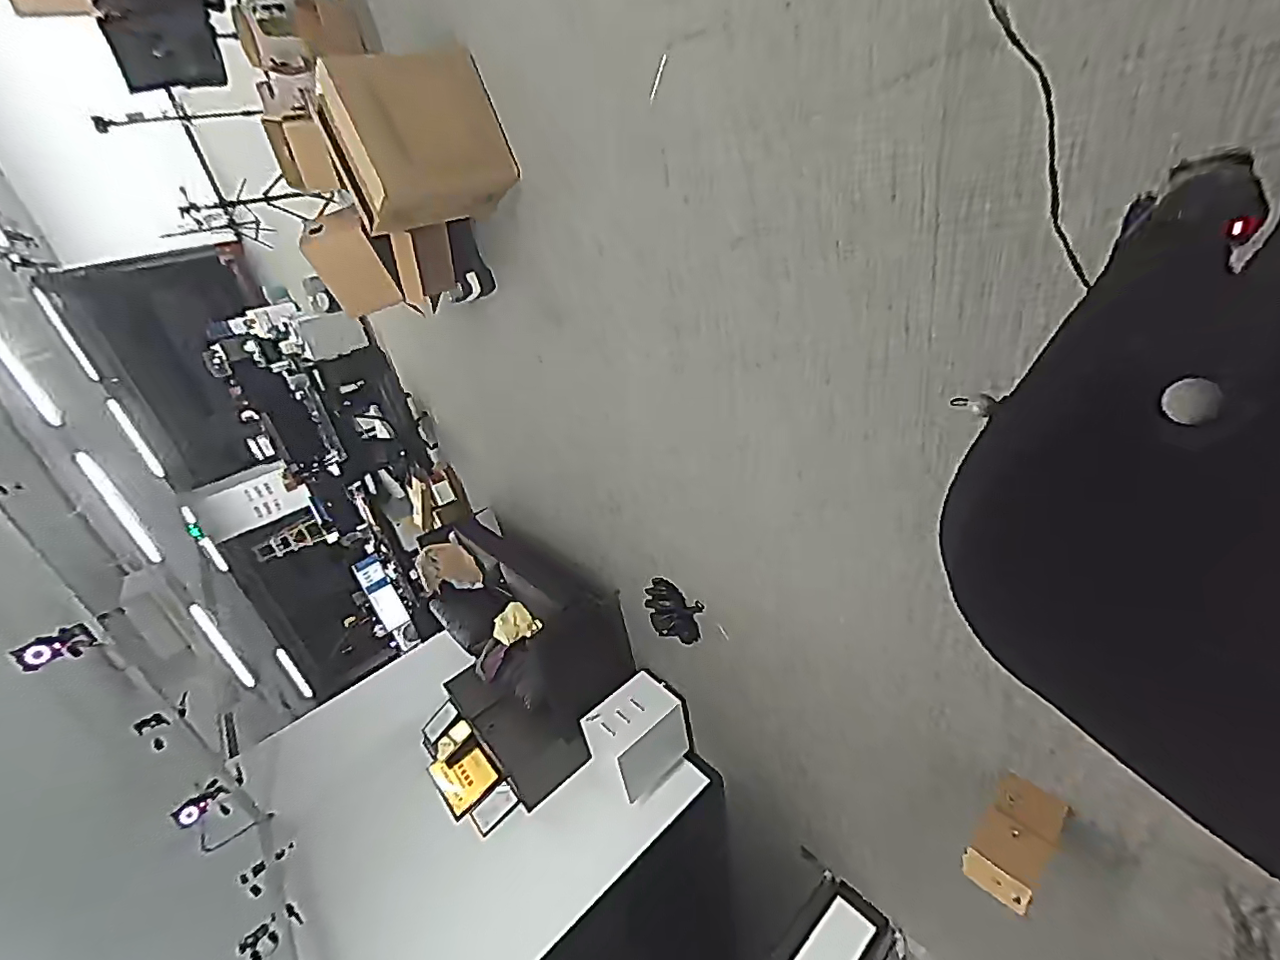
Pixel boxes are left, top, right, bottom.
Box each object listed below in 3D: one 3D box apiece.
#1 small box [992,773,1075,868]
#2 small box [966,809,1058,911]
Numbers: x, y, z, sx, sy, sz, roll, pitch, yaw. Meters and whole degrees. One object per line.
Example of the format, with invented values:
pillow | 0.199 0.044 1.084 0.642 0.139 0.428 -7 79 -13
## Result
small box | 1.279 1.101 1.768 0.179 0.176 0.168 20 132 46
small box | 1.155 1.168 1.683 0.179 0.176 0.168 25 136 45
